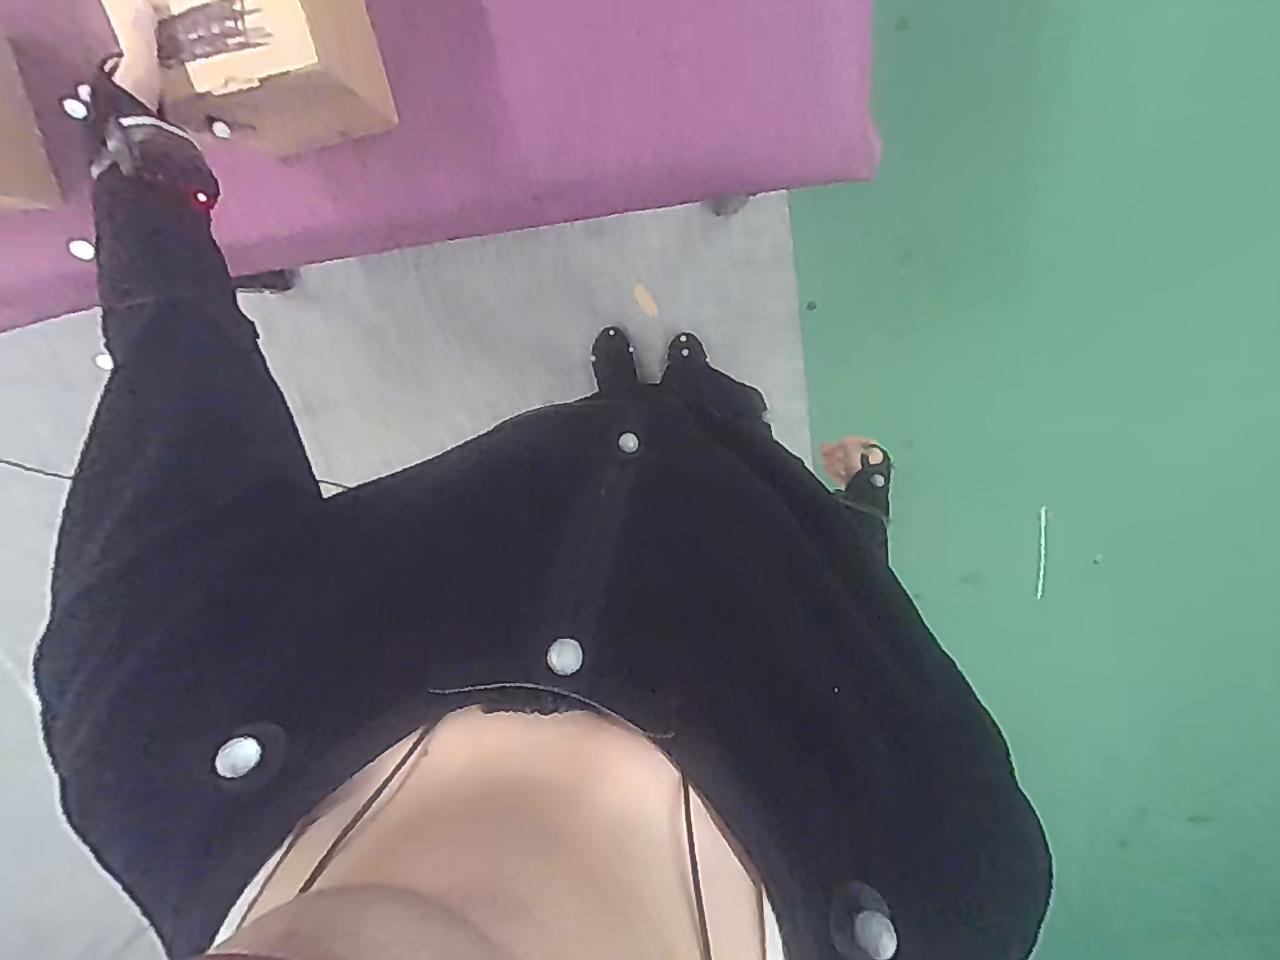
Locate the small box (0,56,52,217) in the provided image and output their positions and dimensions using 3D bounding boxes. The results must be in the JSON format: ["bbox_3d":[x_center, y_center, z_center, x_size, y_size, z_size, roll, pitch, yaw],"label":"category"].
[{"bbox_3d":[-0.766,-0.365,0.537,0.168,0.176,0.179,-3,107,-2],"label":"small box"}]
